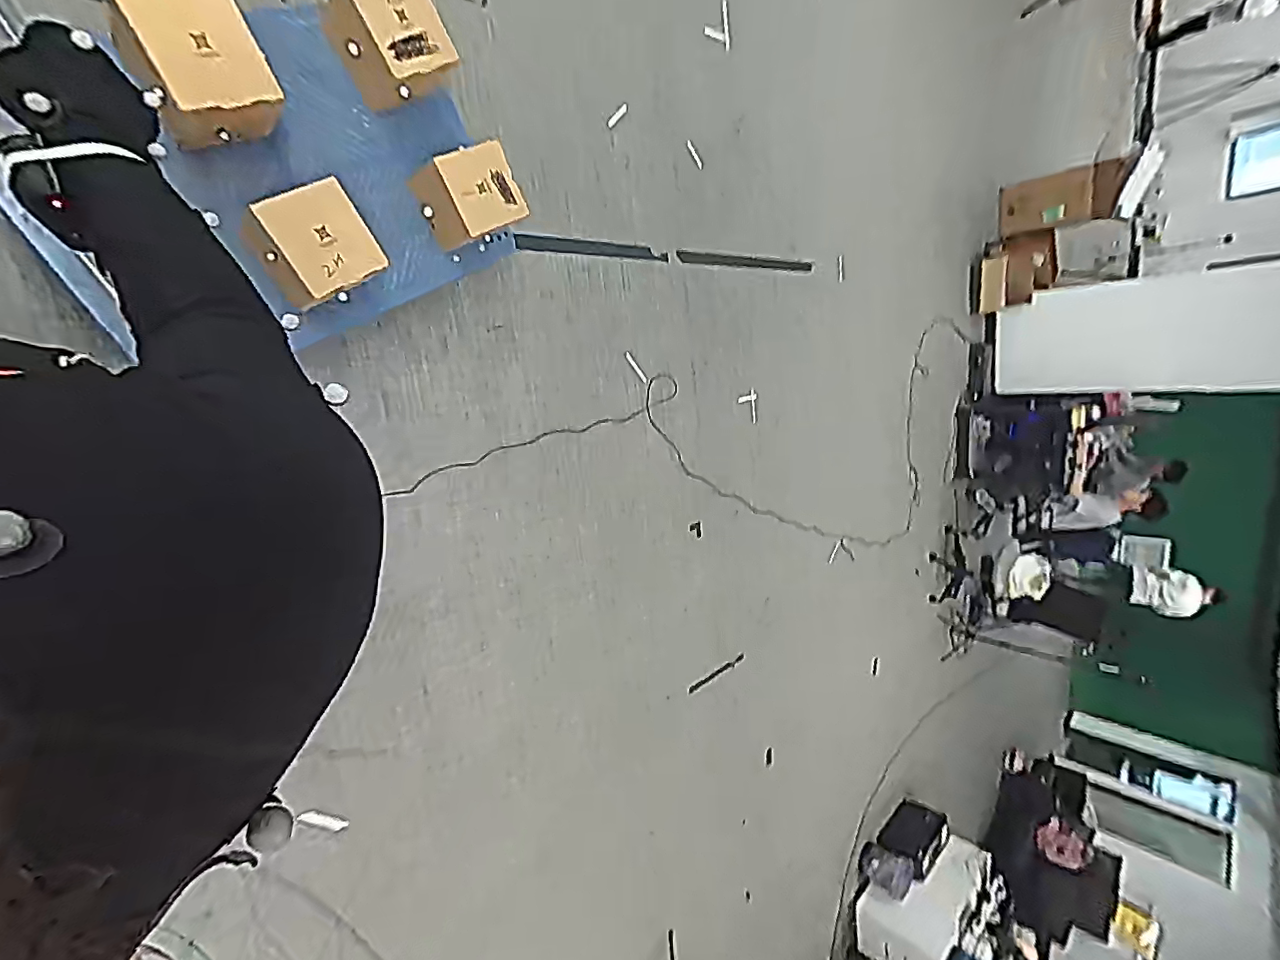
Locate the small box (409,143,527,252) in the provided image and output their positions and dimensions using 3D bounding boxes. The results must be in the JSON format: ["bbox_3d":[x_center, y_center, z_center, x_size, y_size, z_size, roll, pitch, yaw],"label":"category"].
[{"bbox_3d":[-0.407,-0.661,1.274,0.179,0.176,0.168,-40,120,-31],"label":"small box"}]

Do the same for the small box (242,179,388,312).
[{"bbox_3d":[-0.648,-0.458,1.076,0.168,0.176,0.179,-44,122,-30],"label":"small box"}]

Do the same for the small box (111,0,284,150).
[{"bbox_3d":[-0.769,-0.709,0.939,0.168,0.176,0.179,-40,121,-33],"label":"small box"}]
